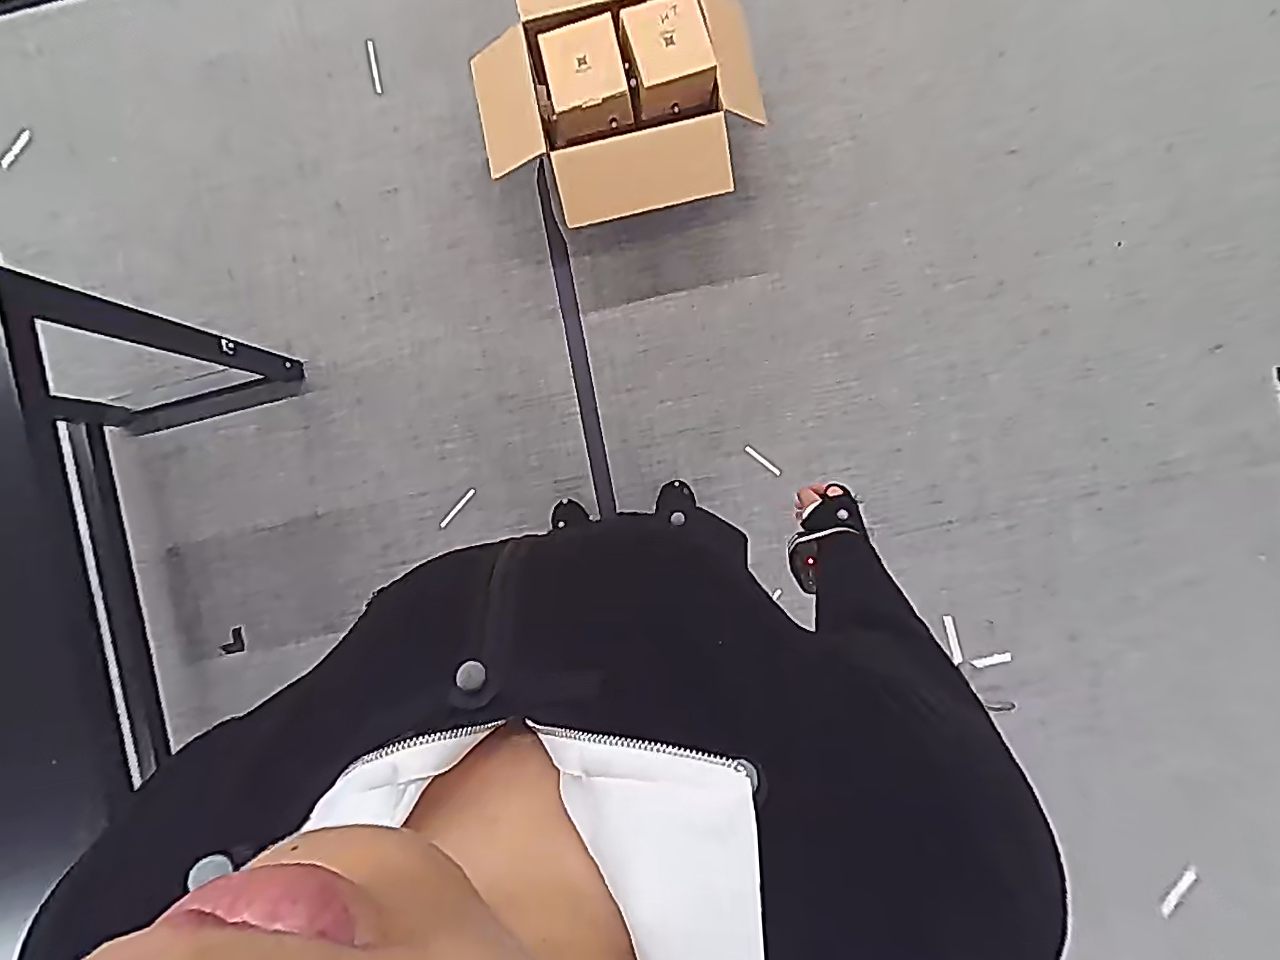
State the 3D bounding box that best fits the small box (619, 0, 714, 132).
[{"bbox_3d":[0.056,-0.931,1.228,0.168,0.176,0.179,-18,90,-2],"label":"small box"}]
